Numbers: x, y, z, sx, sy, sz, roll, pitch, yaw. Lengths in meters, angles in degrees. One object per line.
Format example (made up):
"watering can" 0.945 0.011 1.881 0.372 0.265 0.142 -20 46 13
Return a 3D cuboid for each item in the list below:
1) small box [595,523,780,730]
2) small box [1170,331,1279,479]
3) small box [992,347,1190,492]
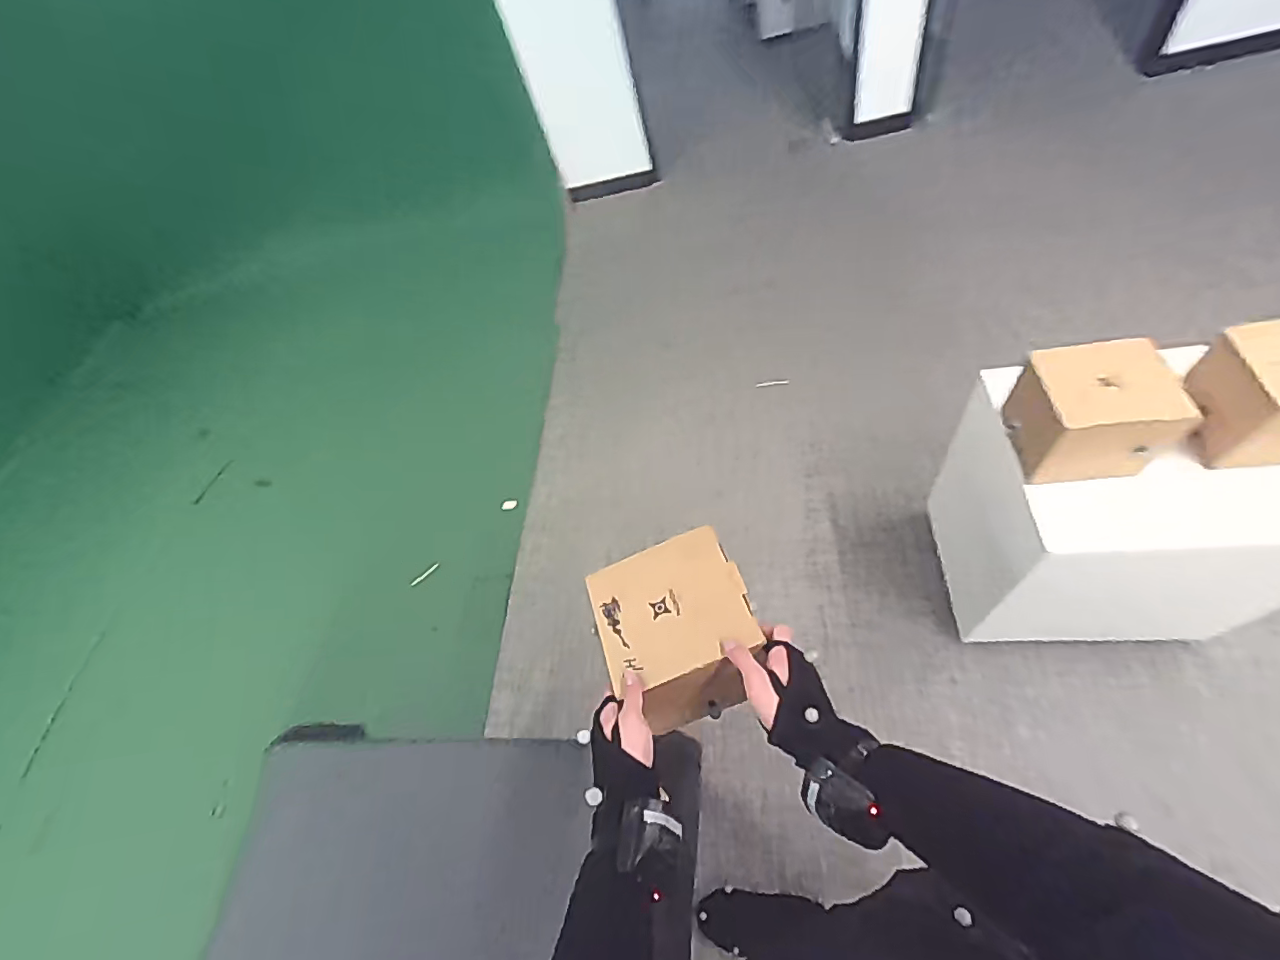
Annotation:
"small box" 0.062 0.187 0.677 0.179 0.176 0.168 -20 49 0
"small box" 0.994 -0.116 0.856 0.179 0.176 0.168 -5 57 12
"small box" 0.735 -0.095 0.909 0.179 0.176 0.168 -6 55 10
